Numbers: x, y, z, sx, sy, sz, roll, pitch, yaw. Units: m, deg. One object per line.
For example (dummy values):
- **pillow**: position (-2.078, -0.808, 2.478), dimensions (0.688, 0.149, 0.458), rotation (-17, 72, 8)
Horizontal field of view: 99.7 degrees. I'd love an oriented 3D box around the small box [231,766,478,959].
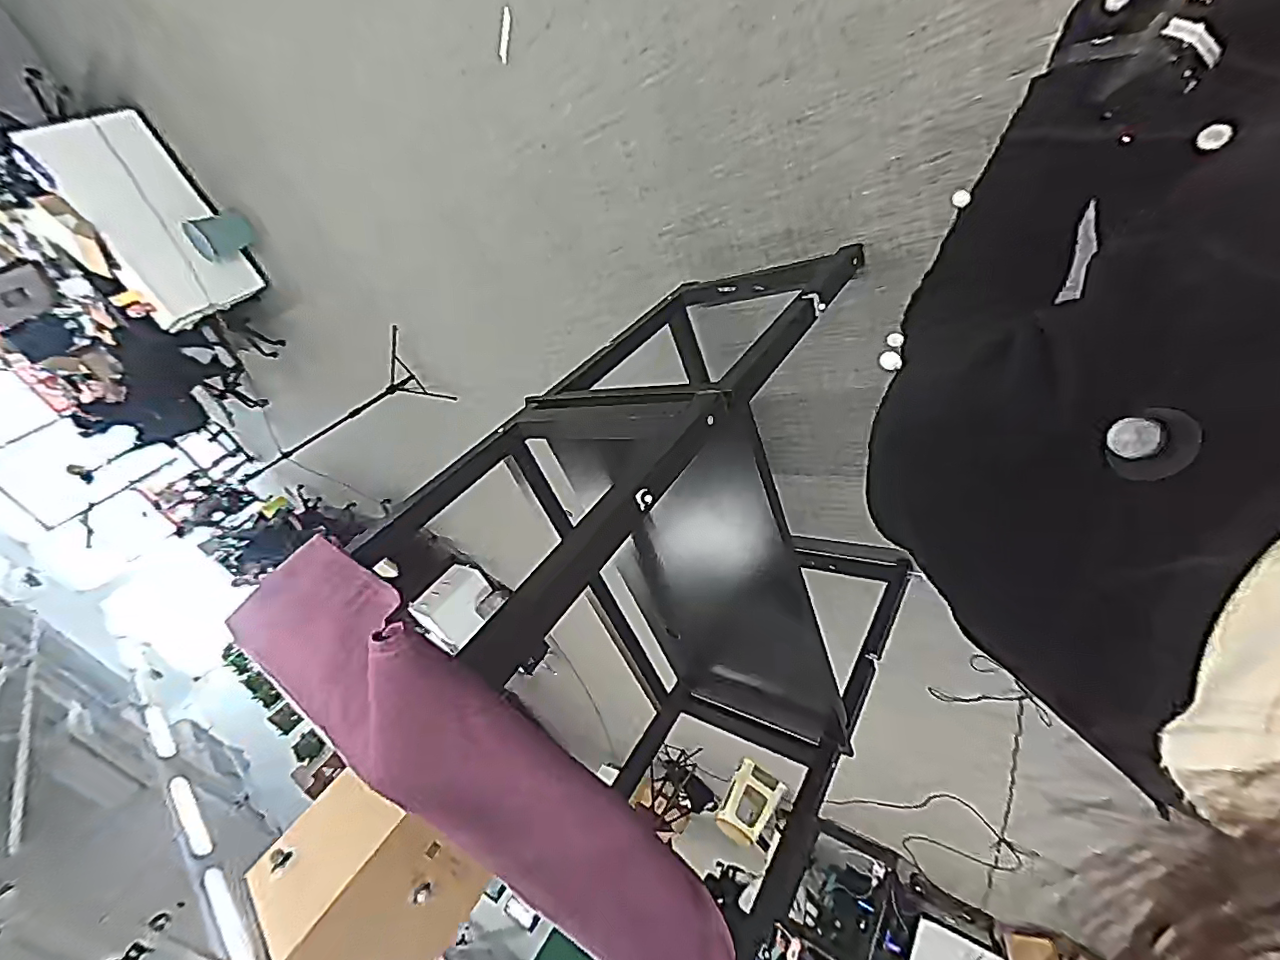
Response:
- **small box**: position (-0.325, 0.473, 0.633), dimensions (0.179, 0.176, 0.168), rotation (-1, 128, 45)
